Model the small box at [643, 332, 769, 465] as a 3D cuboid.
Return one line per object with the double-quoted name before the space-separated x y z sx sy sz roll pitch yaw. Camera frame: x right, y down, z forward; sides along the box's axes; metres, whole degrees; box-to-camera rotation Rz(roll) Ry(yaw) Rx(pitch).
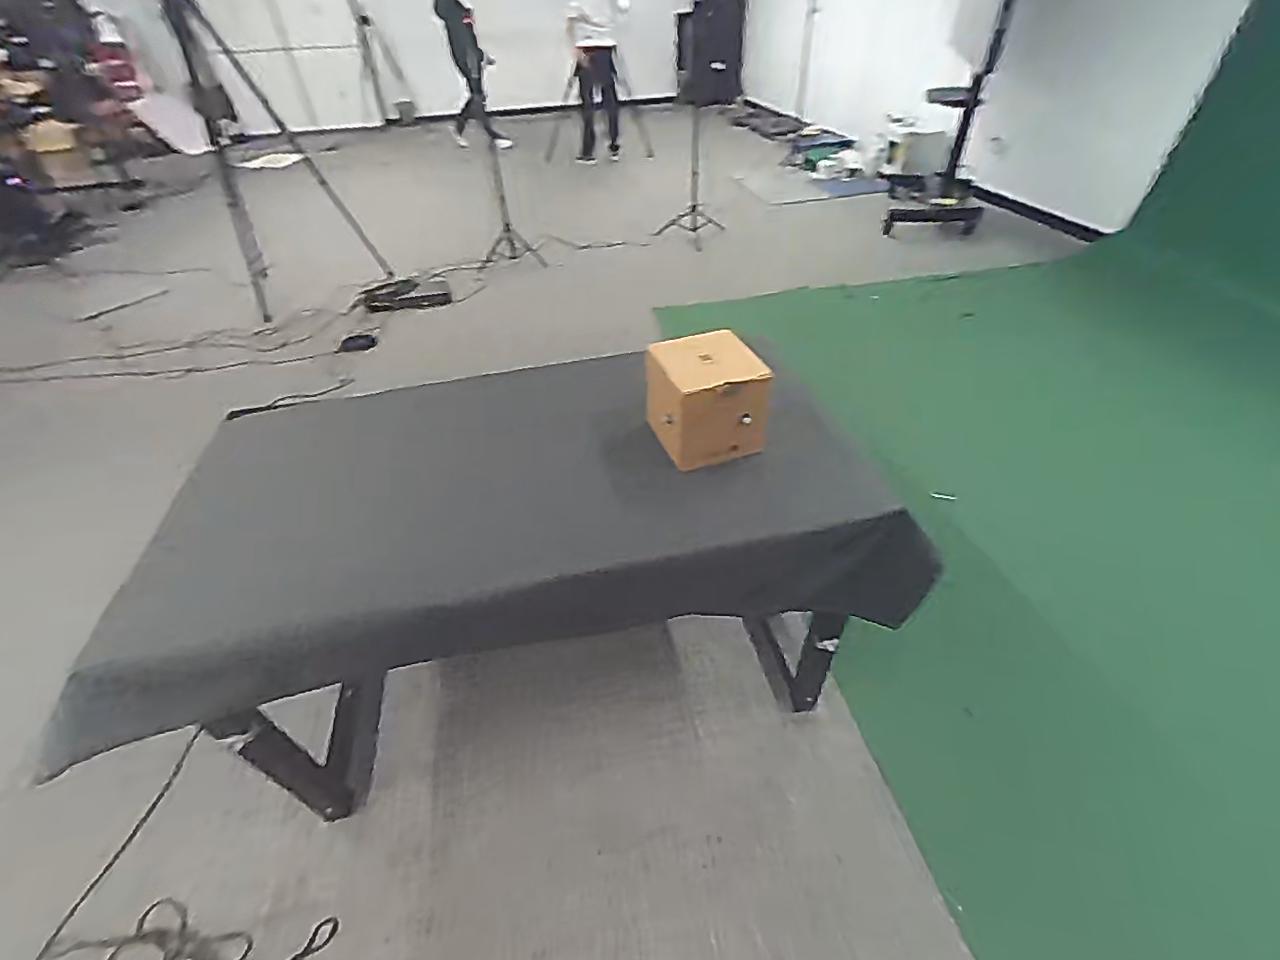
"small box" 0.113 -0.143 0.977 0.168 0.176 0.179 -14 42 -14
